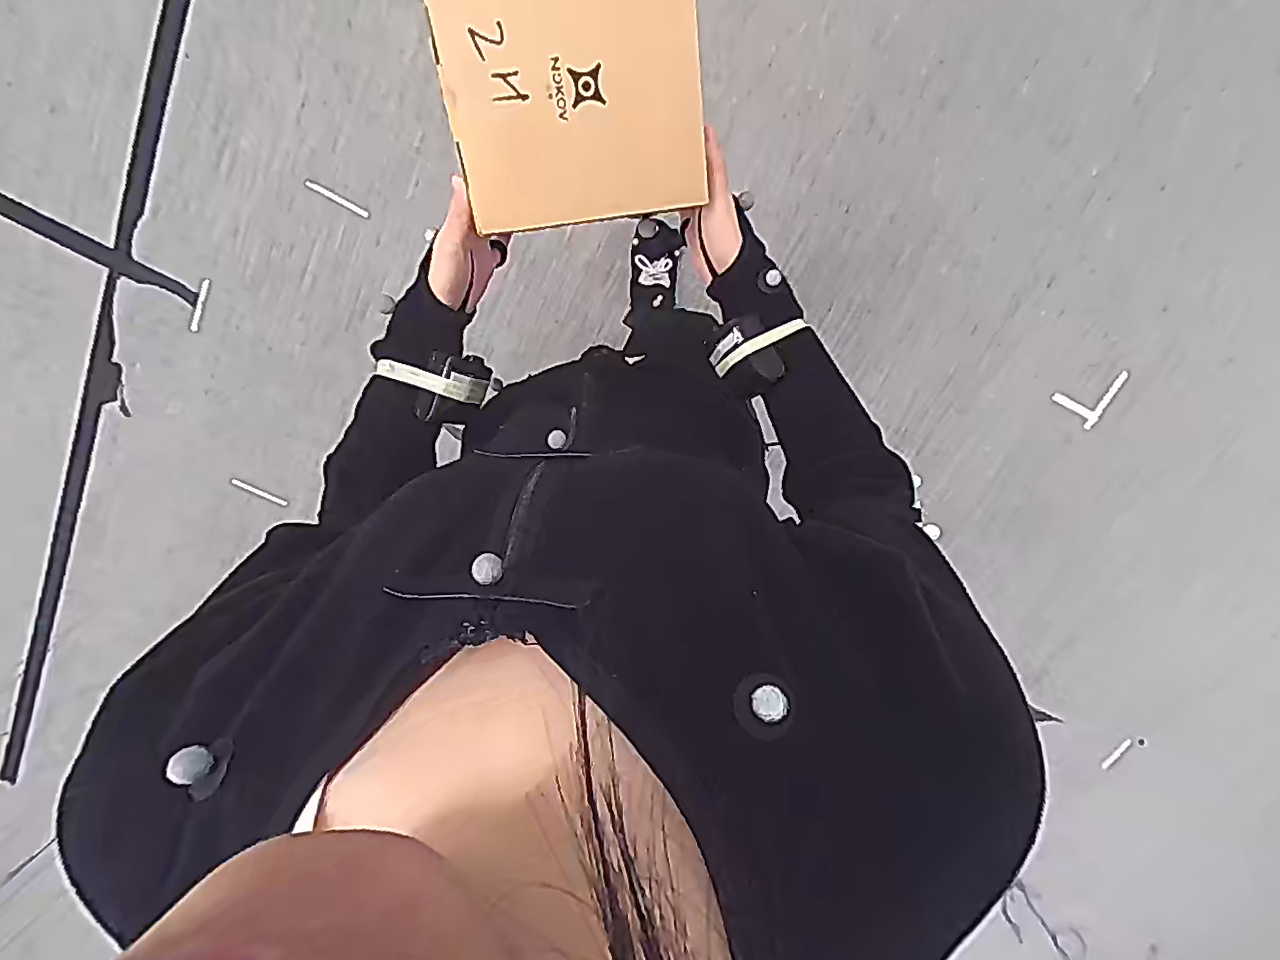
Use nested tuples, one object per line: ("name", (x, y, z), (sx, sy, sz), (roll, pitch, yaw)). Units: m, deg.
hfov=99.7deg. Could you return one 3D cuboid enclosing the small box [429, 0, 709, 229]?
("small box", (-0.049, -0.304, 0.437), (0.179, 0.176, 0.168), (-7, 115, 0))
